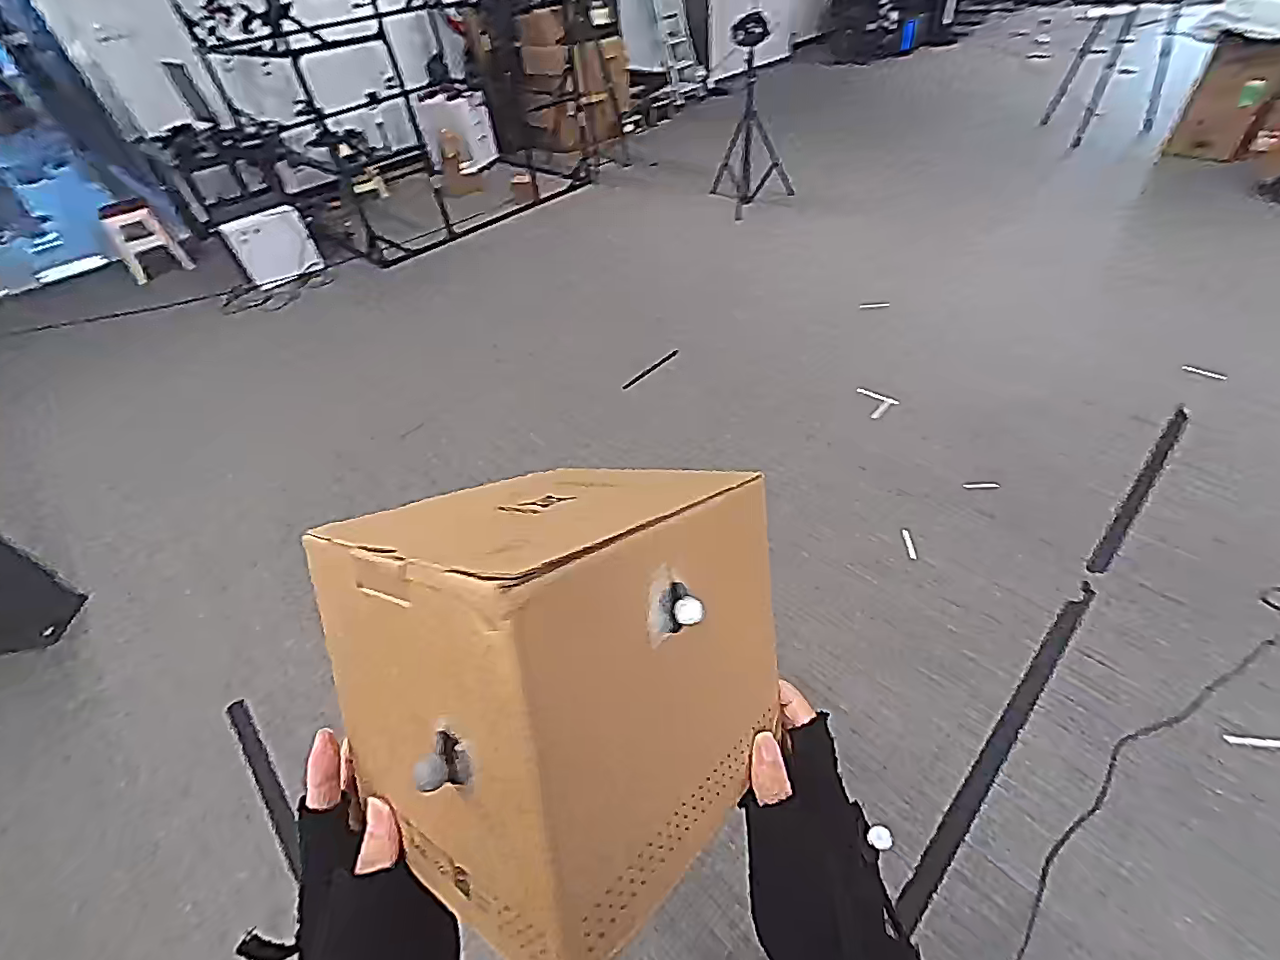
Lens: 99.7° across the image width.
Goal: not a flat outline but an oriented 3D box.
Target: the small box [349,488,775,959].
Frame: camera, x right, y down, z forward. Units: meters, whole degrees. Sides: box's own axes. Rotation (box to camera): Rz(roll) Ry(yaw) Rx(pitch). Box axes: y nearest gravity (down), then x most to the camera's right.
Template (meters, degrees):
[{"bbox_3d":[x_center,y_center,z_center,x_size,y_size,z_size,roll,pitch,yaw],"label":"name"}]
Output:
[{"bbox_3d":[-0.032,0.105,0.311,0.168,0.176,0.179,2,12,40],"label":"small box"}]
